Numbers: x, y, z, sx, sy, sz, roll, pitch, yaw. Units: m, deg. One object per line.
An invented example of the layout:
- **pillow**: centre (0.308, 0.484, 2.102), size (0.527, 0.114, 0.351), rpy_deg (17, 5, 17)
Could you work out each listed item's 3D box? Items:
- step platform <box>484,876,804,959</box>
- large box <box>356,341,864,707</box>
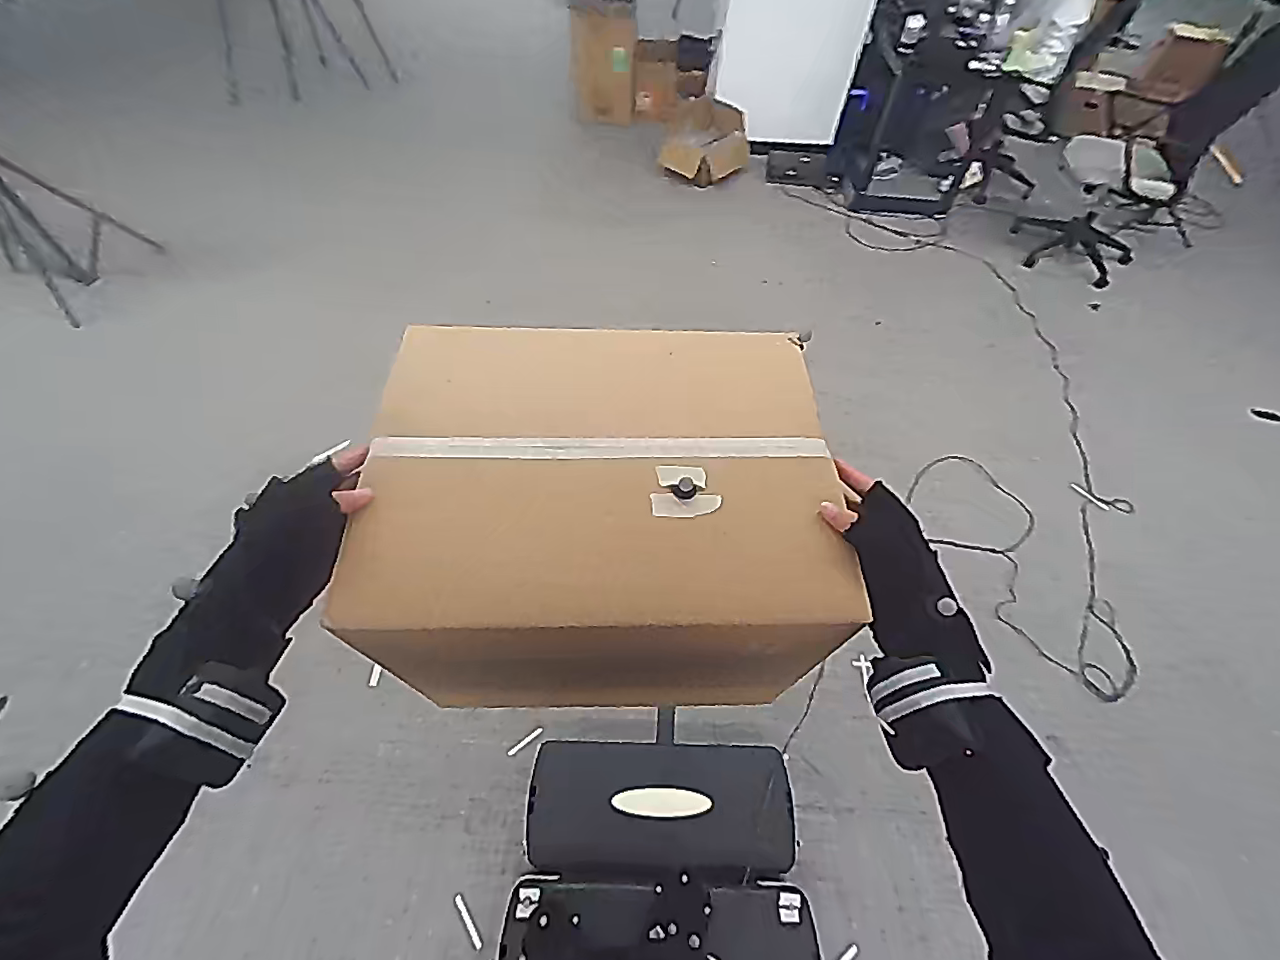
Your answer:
- **step platform**: centre (0.008, 1.046, 1.176), size (0.684, 0.204, 0.286), rpy_deg (2, 54, 0)
- **large box**: centre (-0.031, 0.064, 0.621), size (0.408, 0.320, 0.320), rpy_deg (1, 57, -3)
